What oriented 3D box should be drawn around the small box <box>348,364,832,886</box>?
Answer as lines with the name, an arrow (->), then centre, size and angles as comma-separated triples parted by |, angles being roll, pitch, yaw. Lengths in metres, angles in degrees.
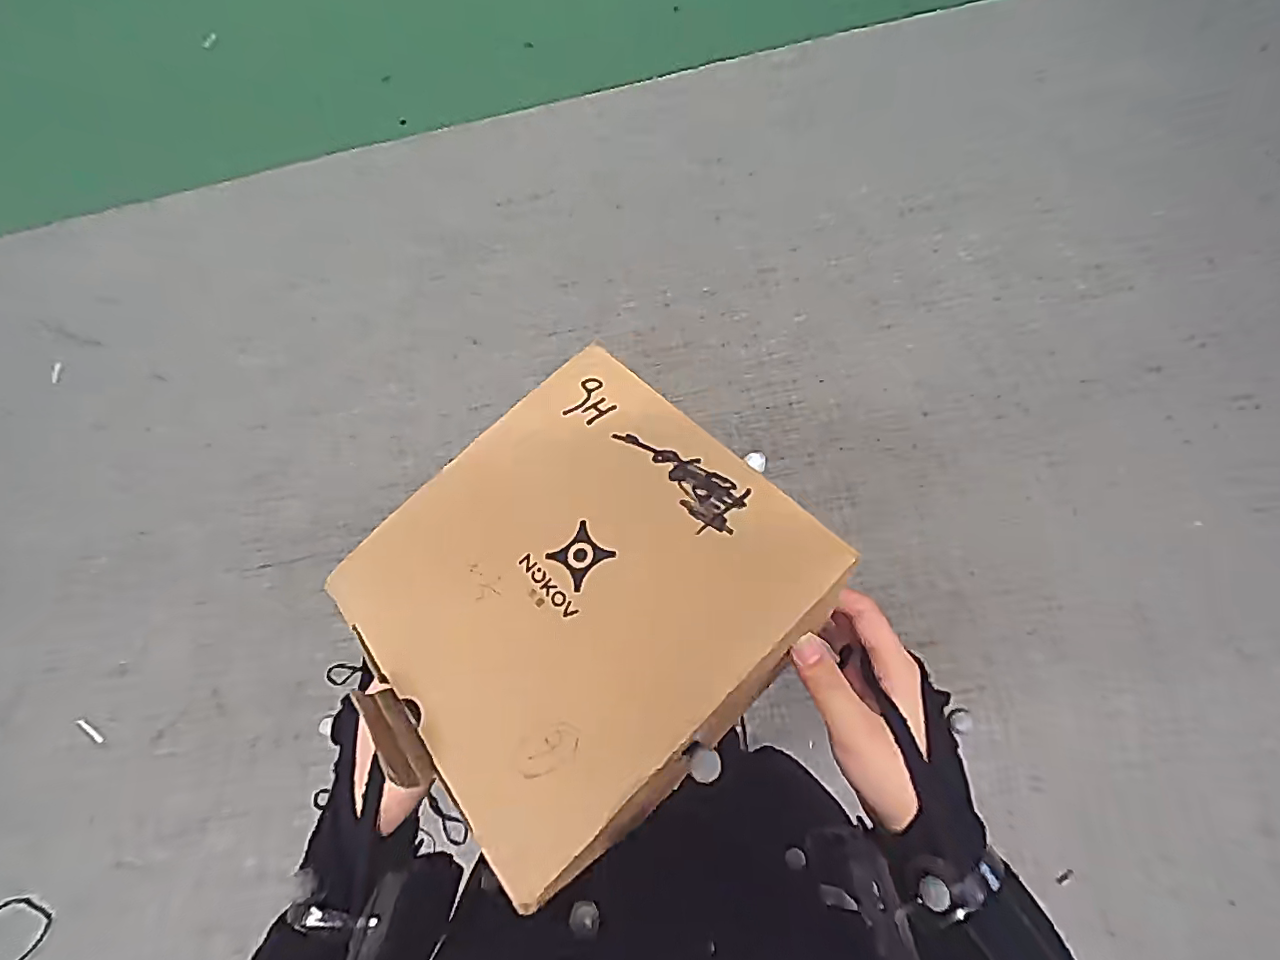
small box -> -0.014, 0.076, 0.314 | 0.179, 0.176, 0.168 | -44, 64, -8
